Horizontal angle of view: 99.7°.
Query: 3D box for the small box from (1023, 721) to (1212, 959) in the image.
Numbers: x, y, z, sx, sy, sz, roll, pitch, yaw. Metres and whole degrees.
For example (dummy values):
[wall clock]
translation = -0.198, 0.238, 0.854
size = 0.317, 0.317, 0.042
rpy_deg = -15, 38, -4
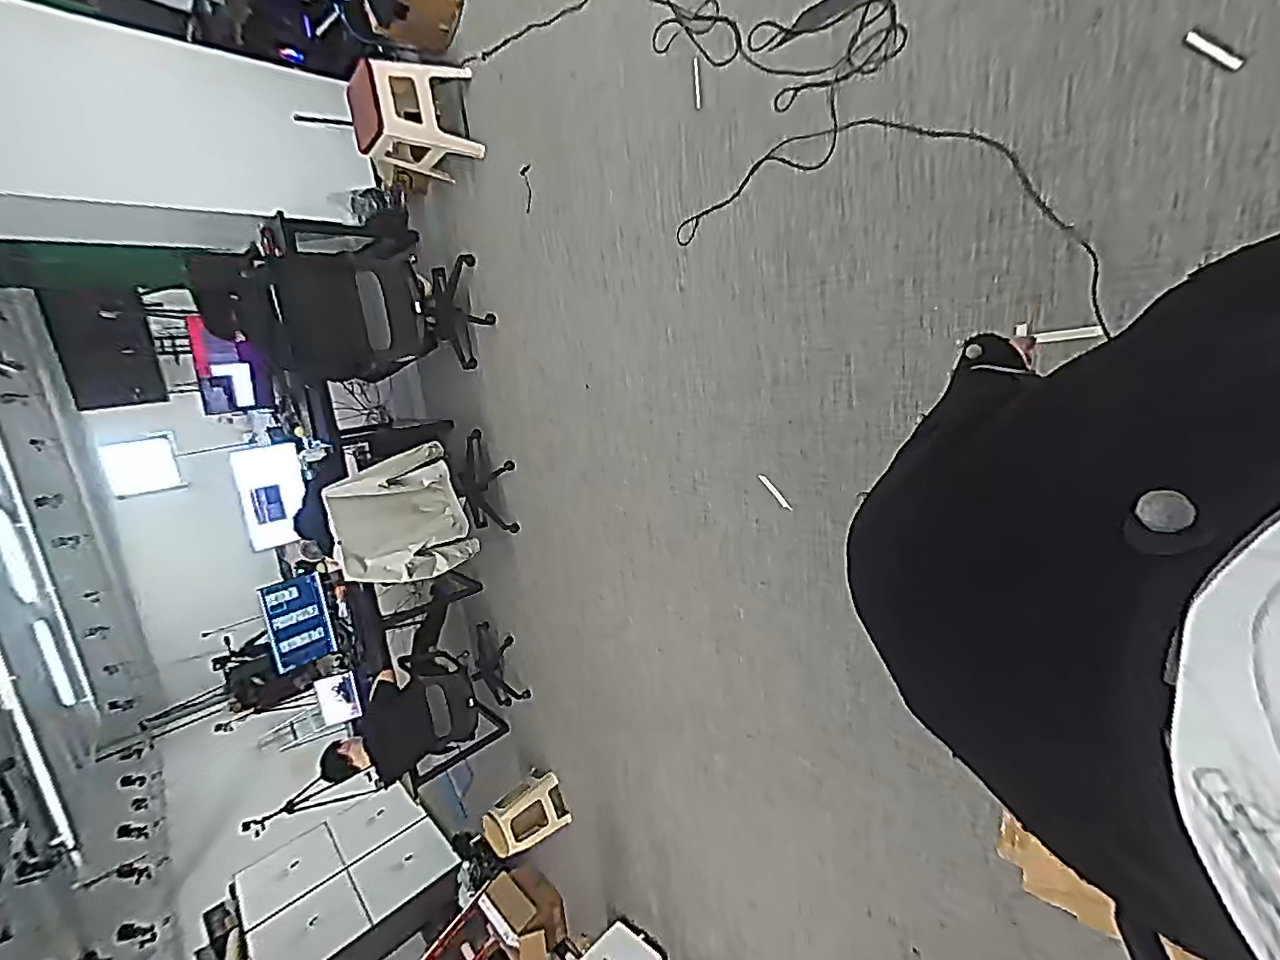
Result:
[small box]
translation = 0.629, 0.463, 0.715
size = 0.168, 0.176, 0.179
rpy_deg = 7, 106, 44
